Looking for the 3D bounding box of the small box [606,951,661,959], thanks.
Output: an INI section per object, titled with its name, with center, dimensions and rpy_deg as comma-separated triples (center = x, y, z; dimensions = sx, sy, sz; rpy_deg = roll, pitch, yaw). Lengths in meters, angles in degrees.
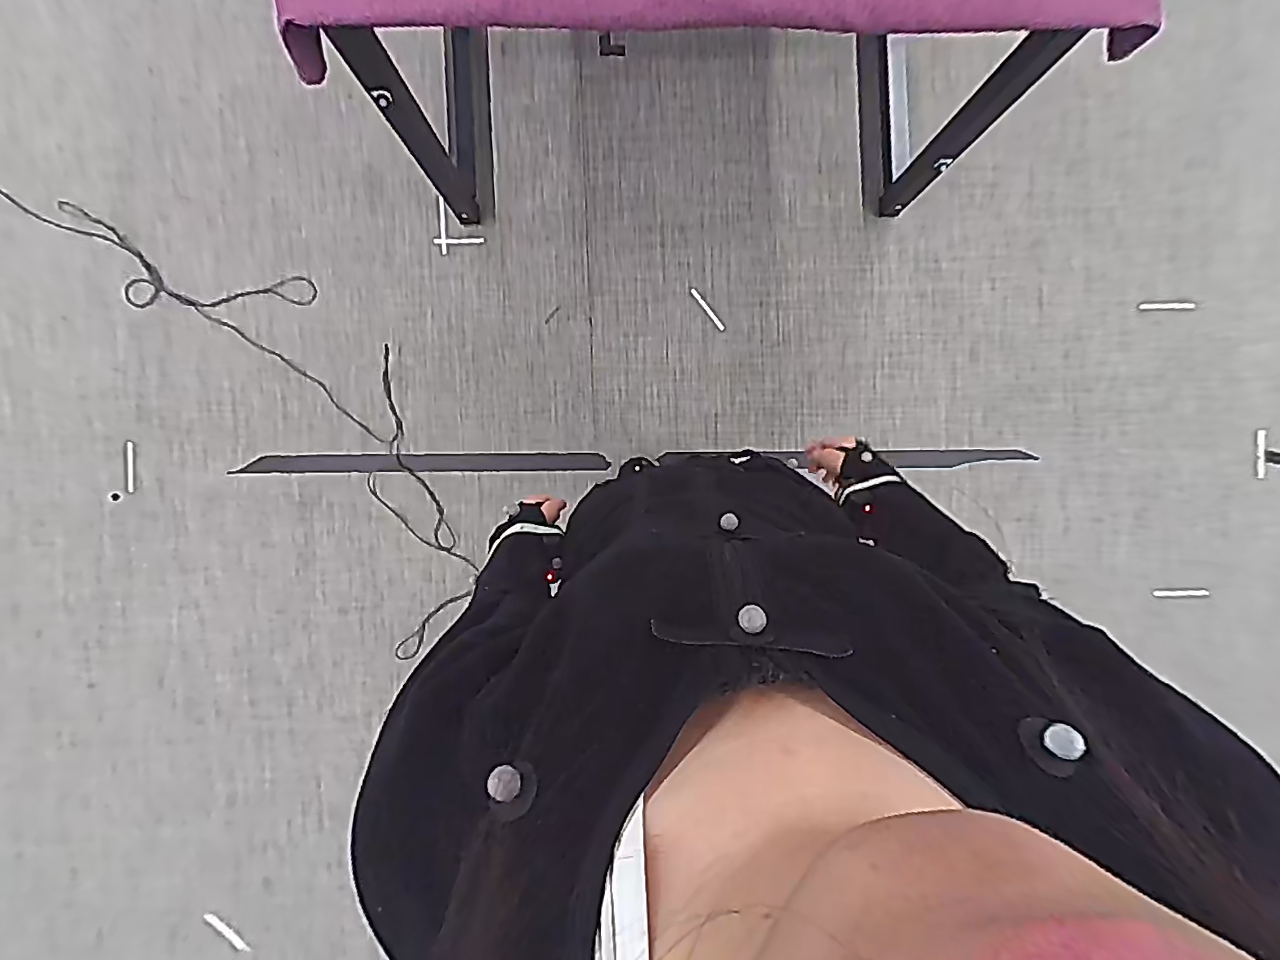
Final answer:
[small box]
center = -0.010, 1.401, 1.419
dimensions = 0.168, 0.176, 0.179
rpy_deg = -10, 92, -1
